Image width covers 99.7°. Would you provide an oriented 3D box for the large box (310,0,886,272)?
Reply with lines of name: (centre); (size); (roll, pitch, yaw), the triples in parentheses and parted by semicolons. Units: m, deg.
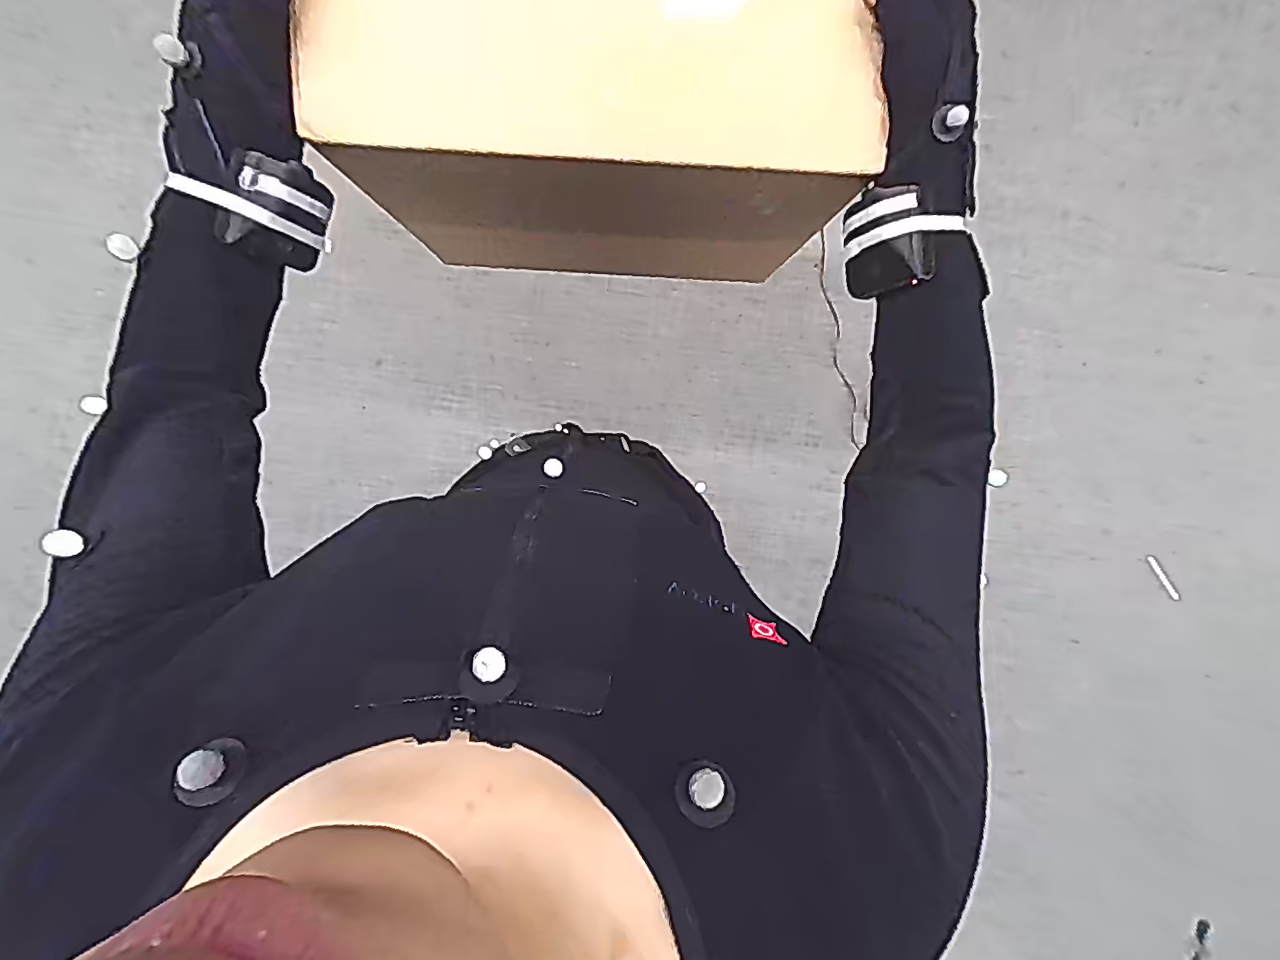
large box: (-0.030, -0.402, 0.514); (0.408, 0.320, 0.320); (2, 97, -3)
